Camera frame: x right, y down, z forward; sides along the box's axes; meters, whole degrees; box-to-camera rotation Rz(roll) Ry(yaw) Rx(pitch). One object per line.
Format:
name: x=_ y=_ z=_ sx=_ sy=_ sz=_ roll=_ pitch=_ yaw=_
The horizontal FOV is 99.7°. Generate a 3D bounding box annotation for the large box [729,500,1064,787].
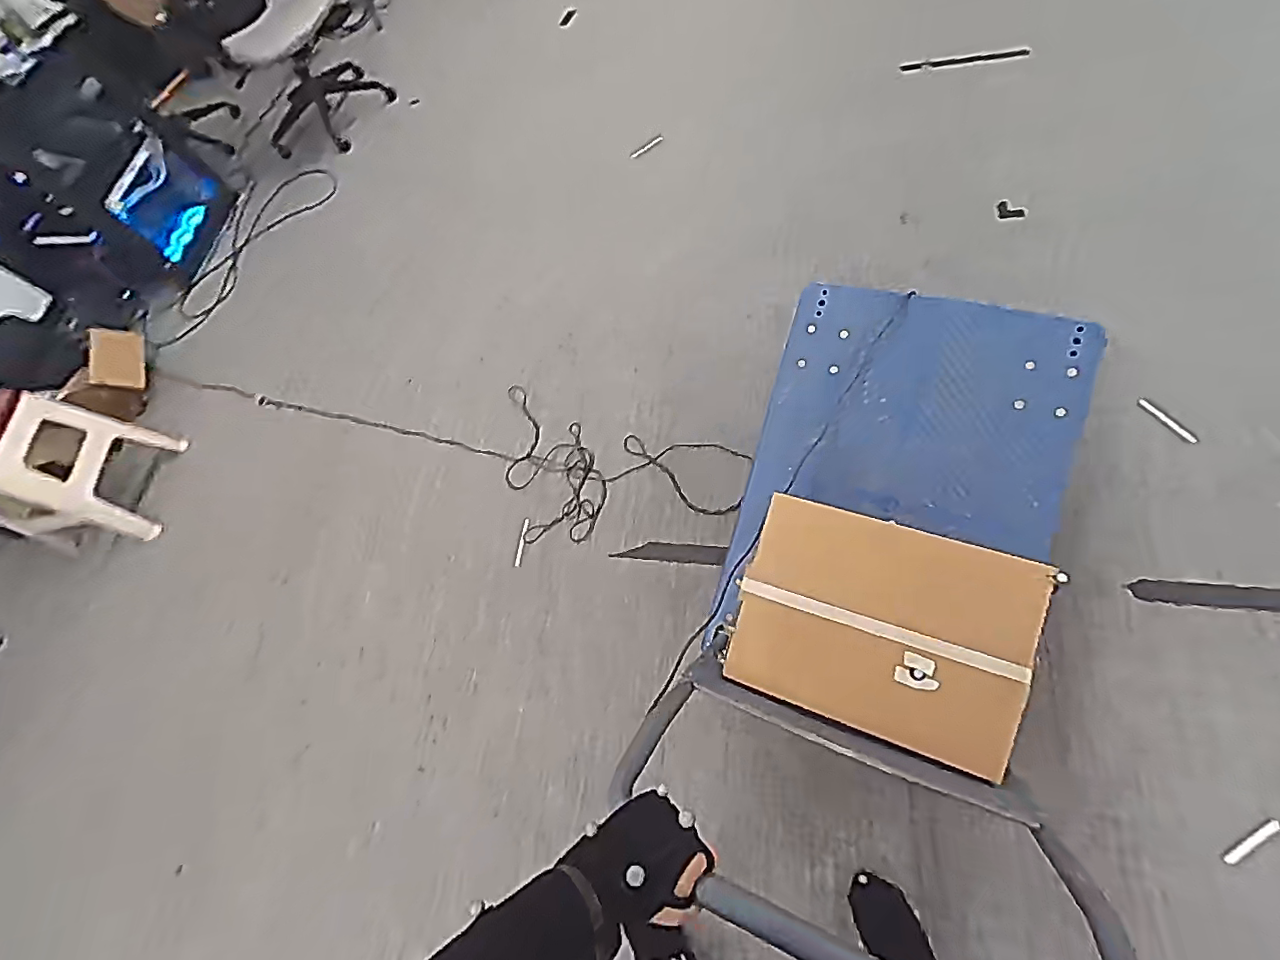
large box: x=0.403 y=0.242 z=0.937 sx=0.408 sy=0.320 sz=0.320 roll=16 pitch=89 yaw=19
